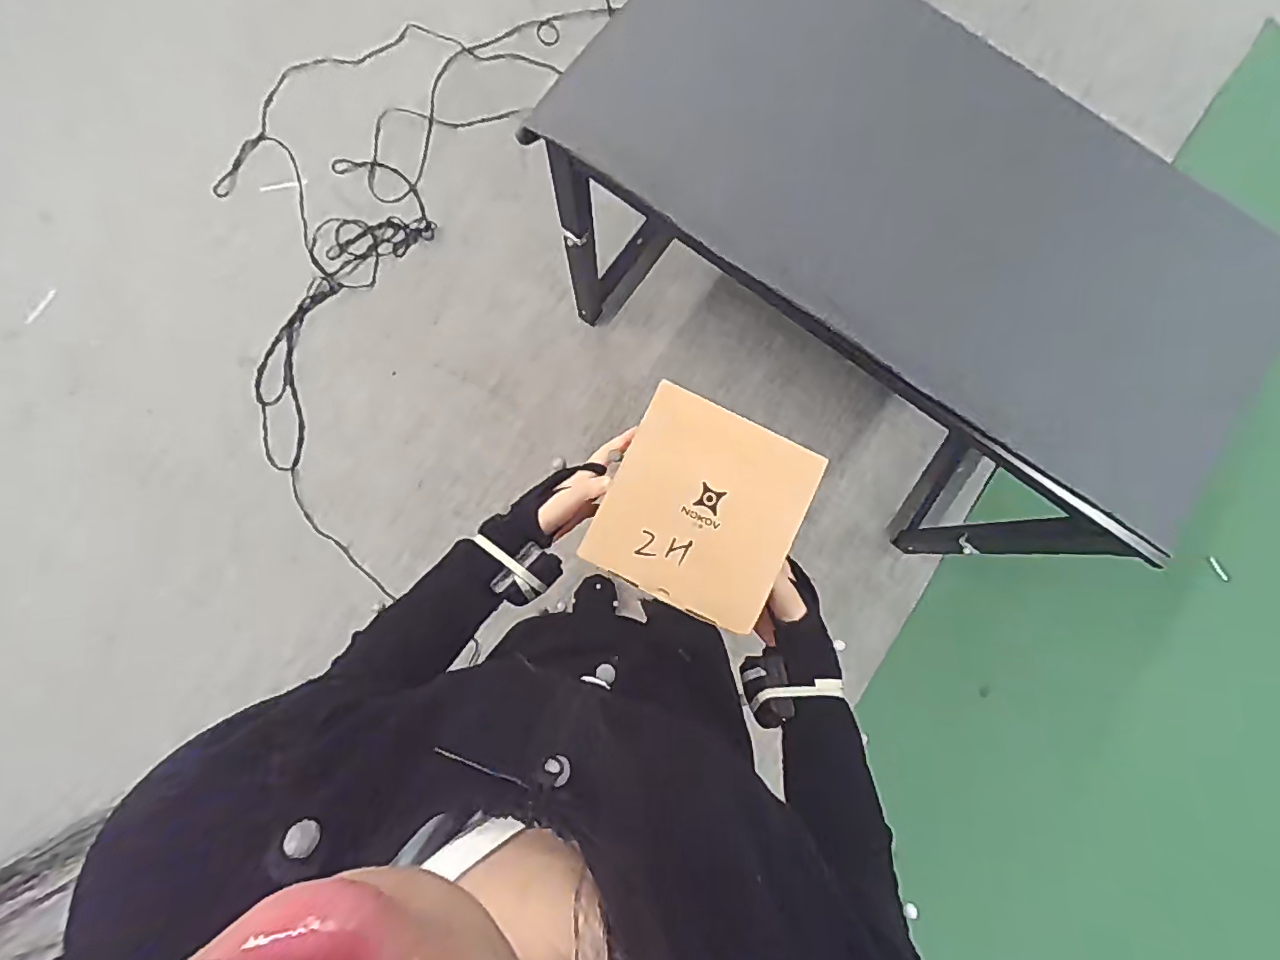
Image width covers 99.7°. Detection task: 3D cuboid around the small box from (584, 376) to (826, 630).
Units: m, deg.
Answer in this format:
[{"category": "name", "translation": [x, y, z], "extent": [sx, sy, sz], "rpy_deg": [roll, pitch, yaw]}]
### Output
[{"category": "small box", "translation": [0.054, 0.025, 0.554], "extent": [0.168, 0.176, 0.179], "rpy_deg": [26, 85, 0]}]
